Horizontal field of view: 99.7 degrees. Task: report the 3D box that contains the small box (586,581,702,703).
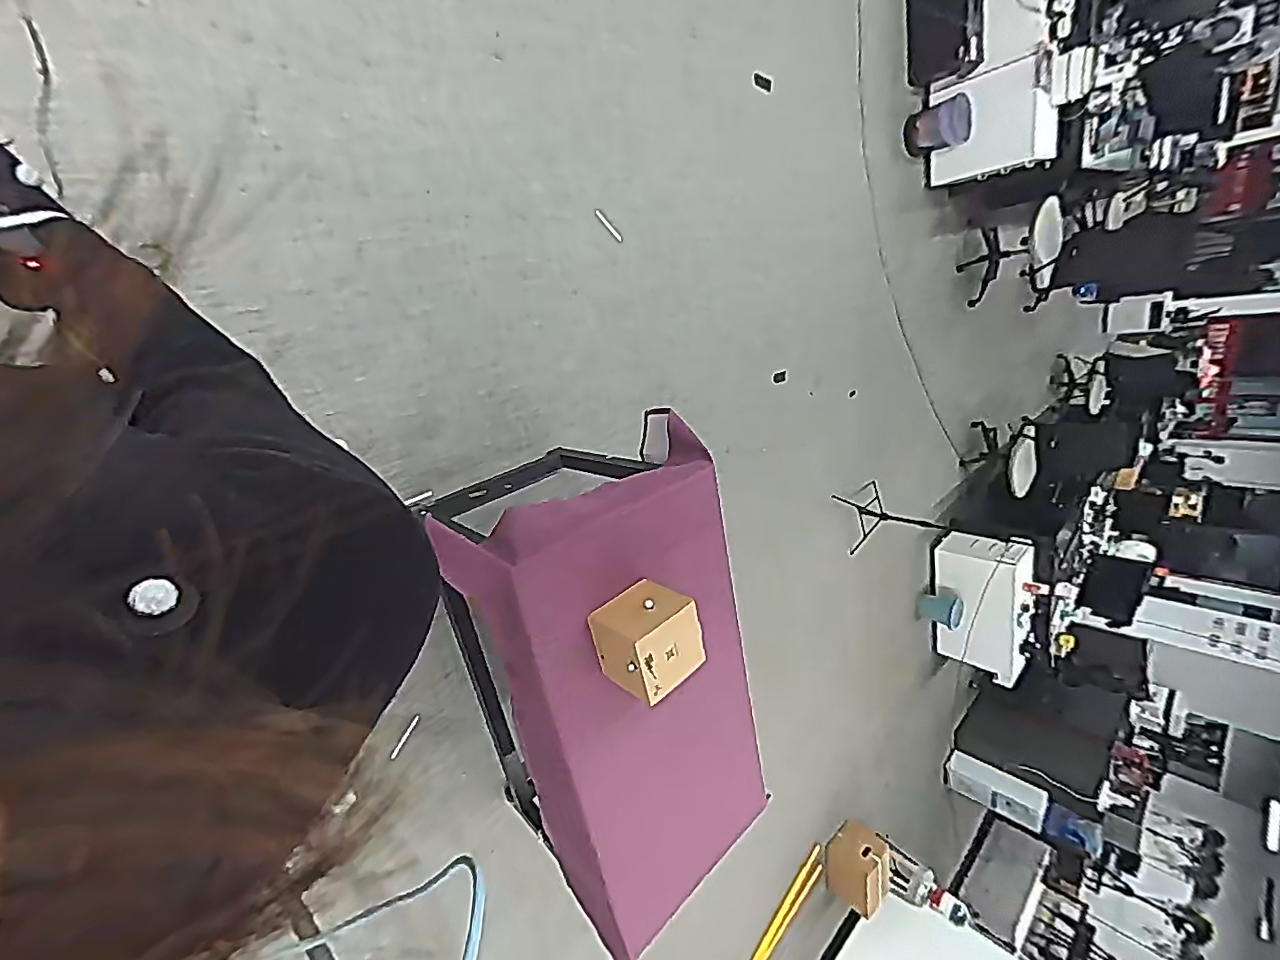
[{"bbox_3d":[0.009,0.348,1.202,0.179,0.176,0.168,-28,115,-35],"label":"small box"}]
